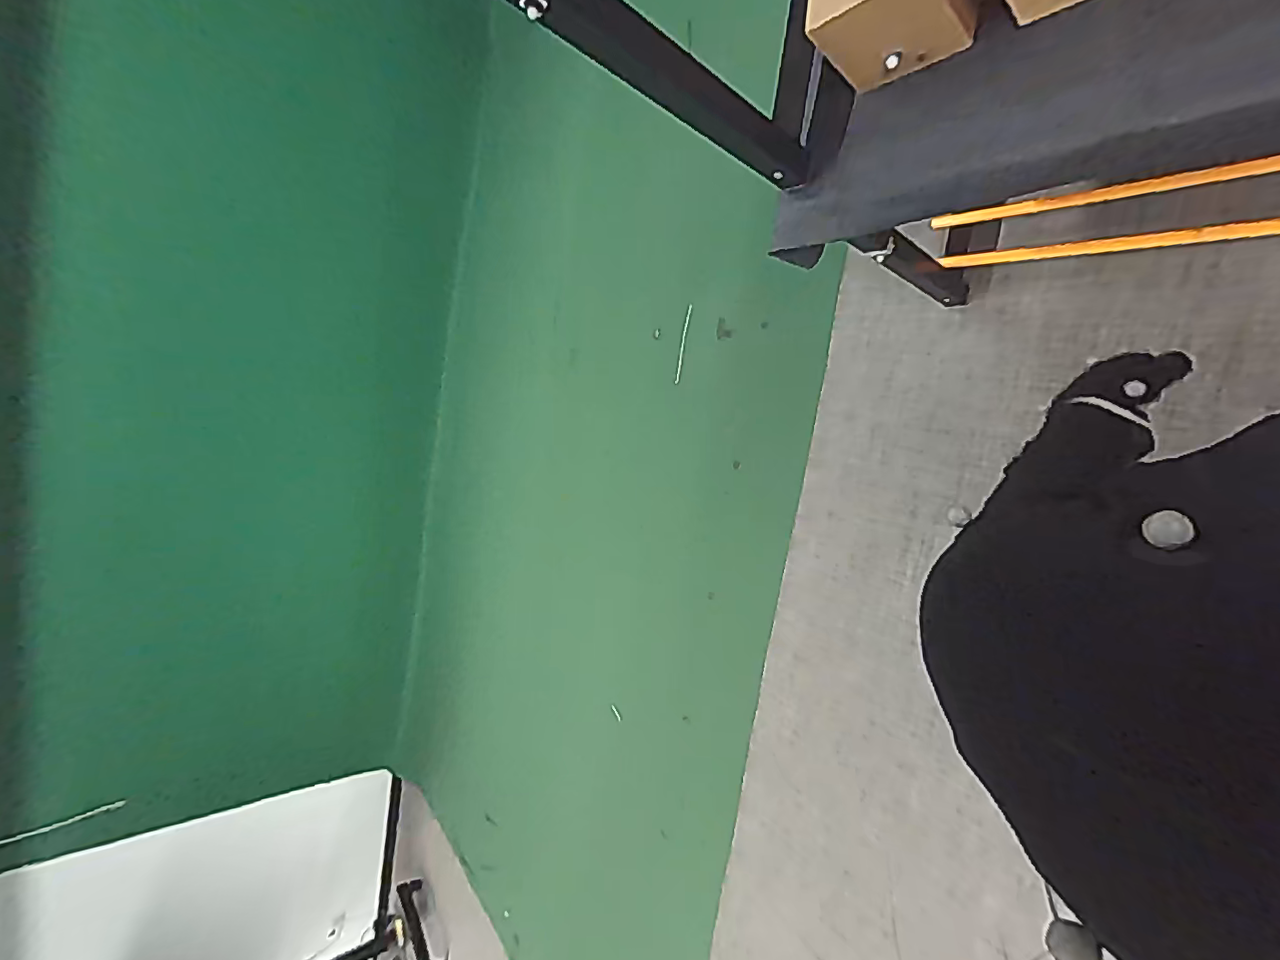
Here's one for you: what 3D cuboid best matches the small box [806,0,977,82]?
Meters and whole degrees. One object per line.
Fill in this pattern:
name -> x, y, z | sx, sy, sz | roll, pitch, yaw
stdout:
small box -> 0.356, -0.708, 0.744 | 0.168, 0.176, 0.179 | 12, 97, 49
